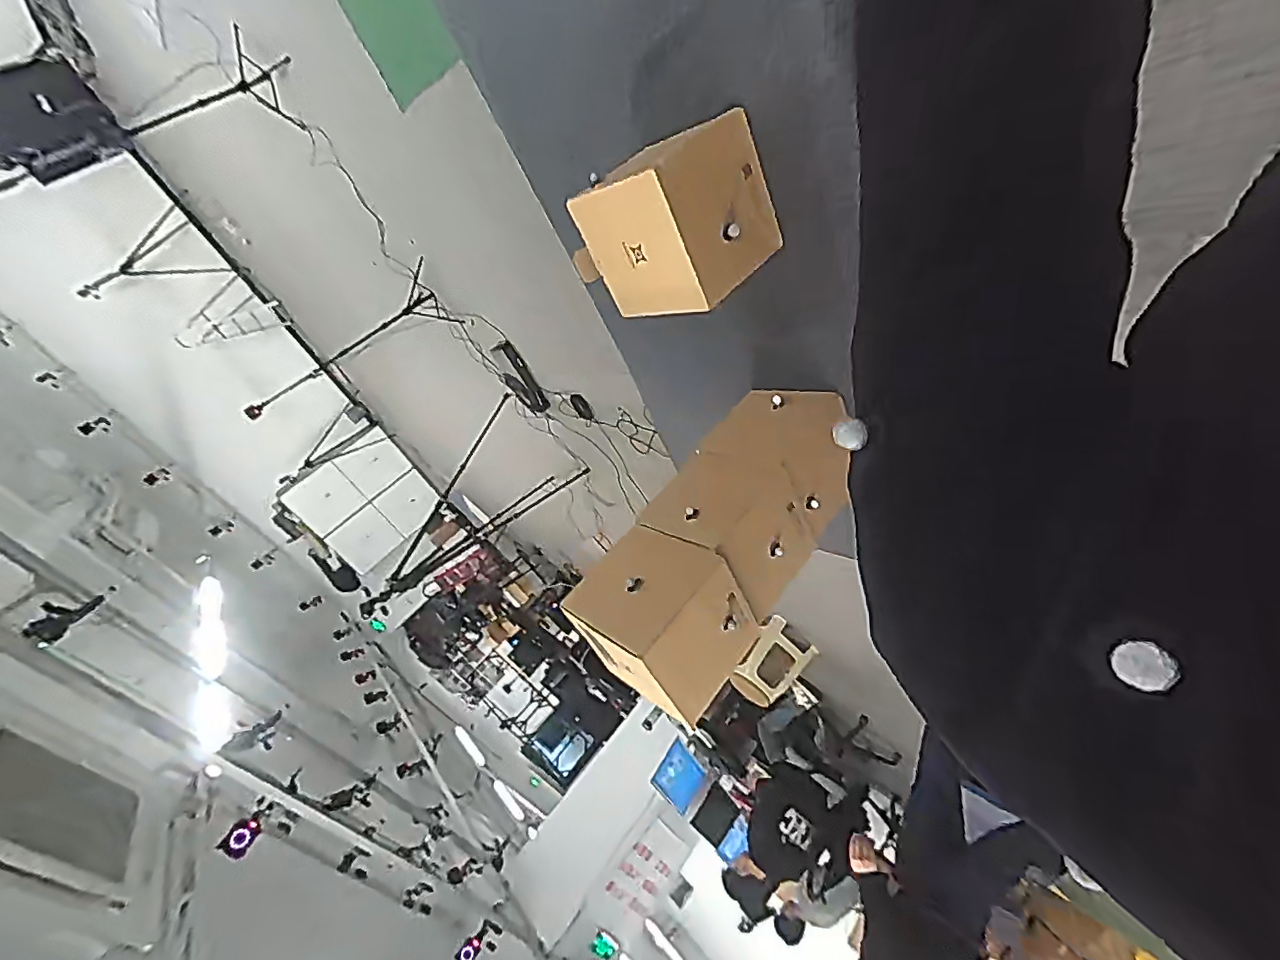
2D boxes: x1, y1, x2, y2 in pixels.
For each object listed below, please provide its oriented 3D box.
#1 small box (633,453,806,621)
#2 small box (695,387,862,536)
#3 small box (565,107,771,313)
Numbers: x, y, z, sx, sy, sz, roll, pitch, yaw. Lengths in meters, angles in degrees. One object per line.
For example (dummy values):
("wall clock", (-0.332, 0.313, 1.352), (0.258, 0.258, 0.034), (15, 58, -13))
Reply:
("small box", (0.129, 0.075, 0.818), (0.179, 0.176, 0.168), (14, 142, 50))
("small box", (0.228, -0.039, 0.884), (0.179, 0.176, 0.168), (13, 142, 51))
("small box", (0.044, -0.334, 0.688), (0.179, 0.176, 0.168), (16, 145, 49))
